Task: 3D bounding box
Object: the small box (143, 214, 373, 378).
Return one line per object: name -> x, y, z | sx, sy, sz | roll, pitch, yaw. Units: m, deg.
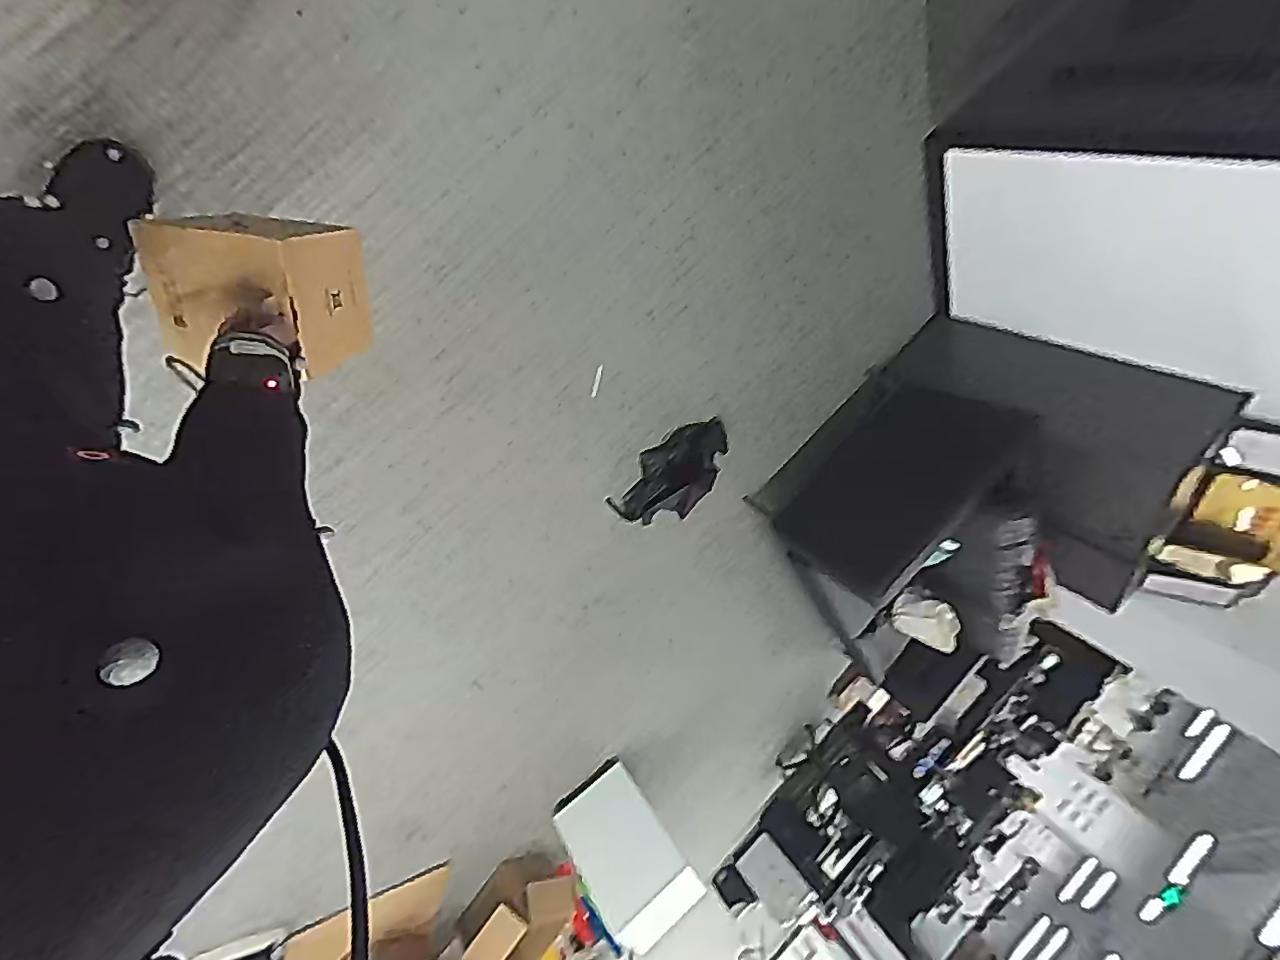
small box -> -0.475, -0.240, 0.691 | 0.176, 0.179, 0.168 | 6, 119, 0
